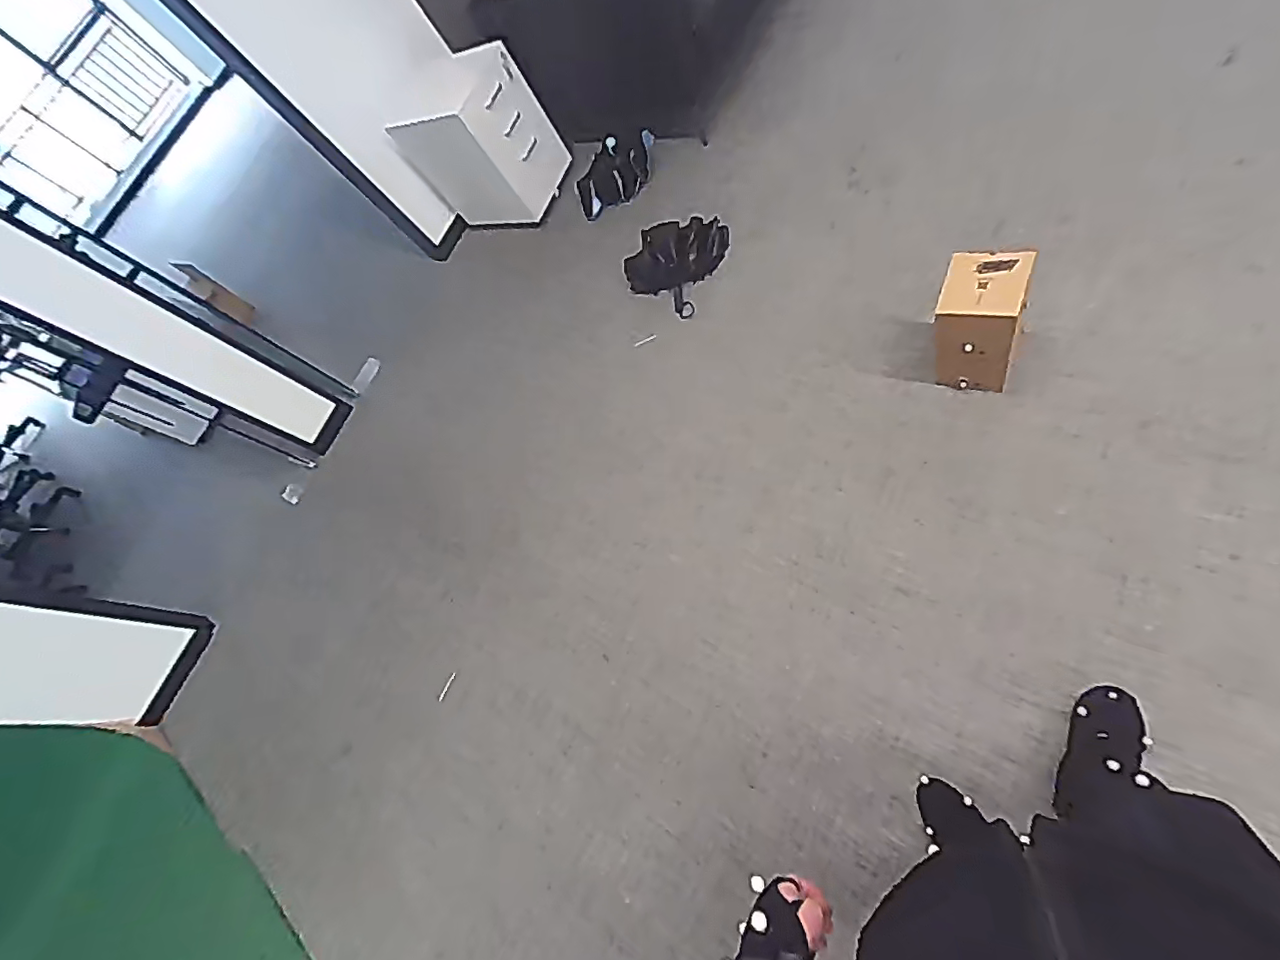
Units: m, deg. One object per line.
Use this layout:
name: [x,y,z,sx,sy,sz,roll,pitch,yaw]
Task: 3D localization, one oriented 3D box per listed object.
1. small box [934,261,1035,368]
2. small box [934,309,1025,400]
small box: [0.812,-0.395,1.290,0.168,0.176,0.179,16,76,33]
small box: [0.887,-0.337,1.425,0.168,0.176,0.179,16,77,33]
